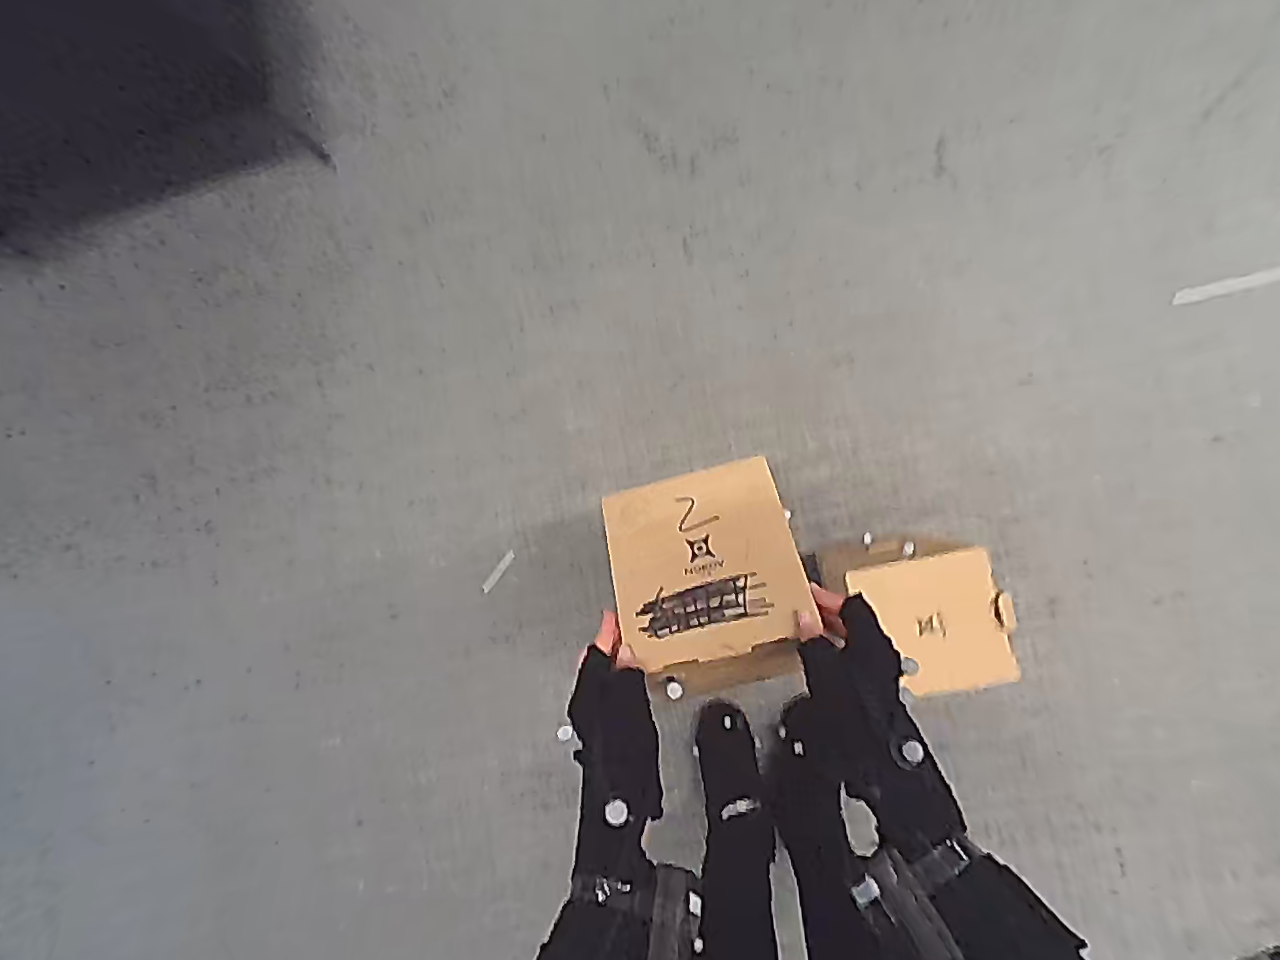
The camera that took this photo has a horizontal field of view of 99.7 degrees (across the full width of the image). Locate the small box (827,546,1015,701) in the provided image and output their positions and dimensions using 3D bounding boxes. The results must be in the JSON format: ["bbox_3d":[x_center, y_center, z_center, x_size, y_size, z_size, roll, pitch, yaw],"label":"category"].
[{"bbox_3d":[0.373,0.191,0.760,0.179,0.176,0.168,-13,84,7],"label":"small box"}]
